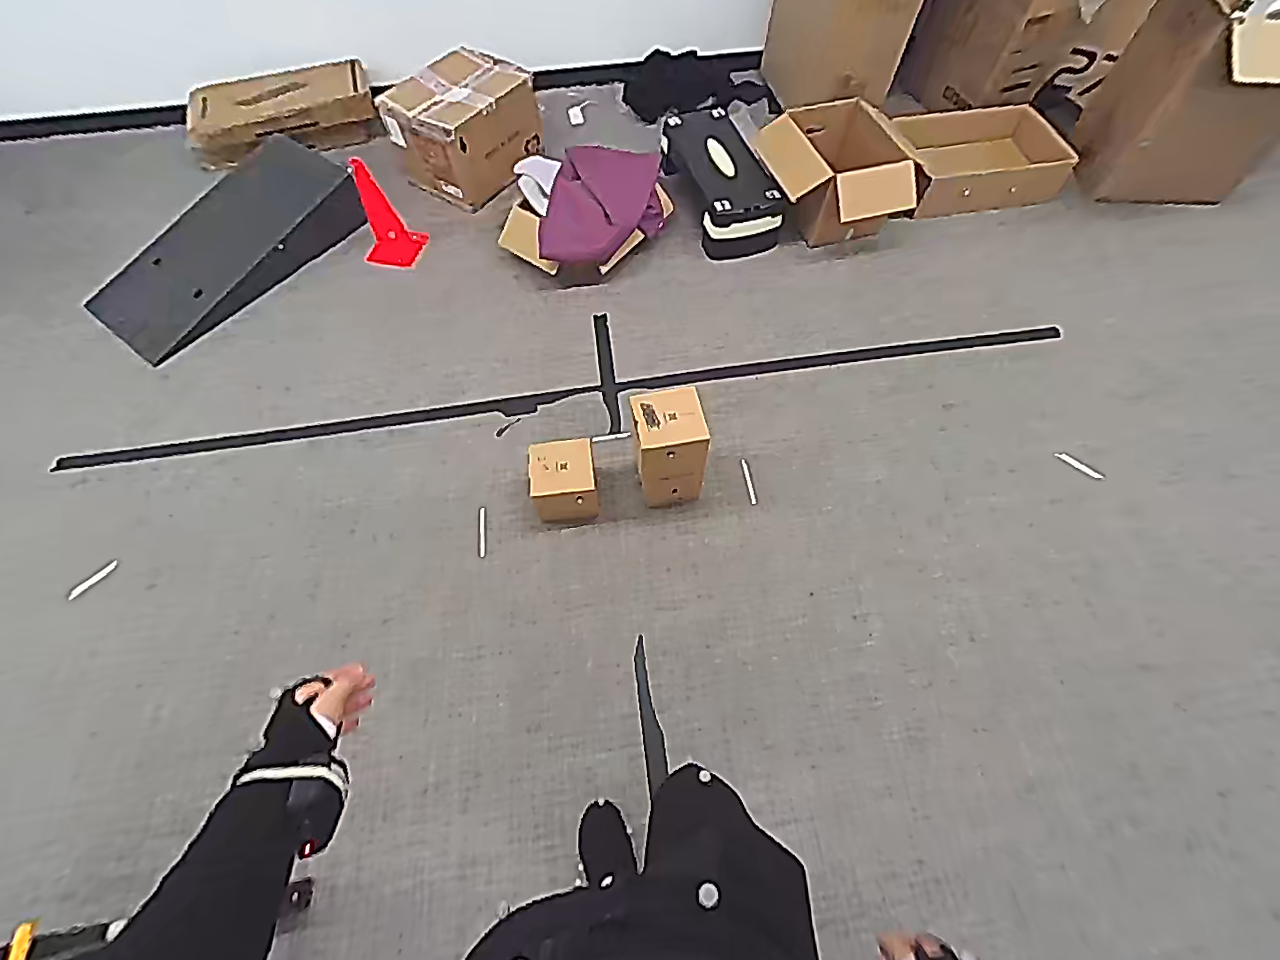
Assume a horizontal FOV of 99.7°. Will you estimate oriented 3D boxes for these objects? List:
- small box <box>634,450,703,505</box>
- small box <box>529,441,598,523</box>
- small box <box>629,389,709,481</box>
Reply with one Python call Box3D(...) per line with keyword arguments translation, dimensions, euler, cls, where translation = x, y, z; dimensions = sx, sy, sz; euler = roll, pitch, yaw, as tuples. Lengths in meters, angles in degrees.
Box3D(translation=(0.078, -0.038, 1.567), dimensions=(0.168, 0.176, 0.179), euler=(-10, 63, -5), cls="small box")
Box3D(translation=(-0.215, 0.010, 1.541), dimensions=(0.179, 0.176, 0.168), euler=(-7, 61, -3), cls="small box")
Box3D(translation=(0.071, -0.113, 1.418), dimensions=(0.179, 0.176, 0.168), euler=(-9, 62, -5), cls="small box")
